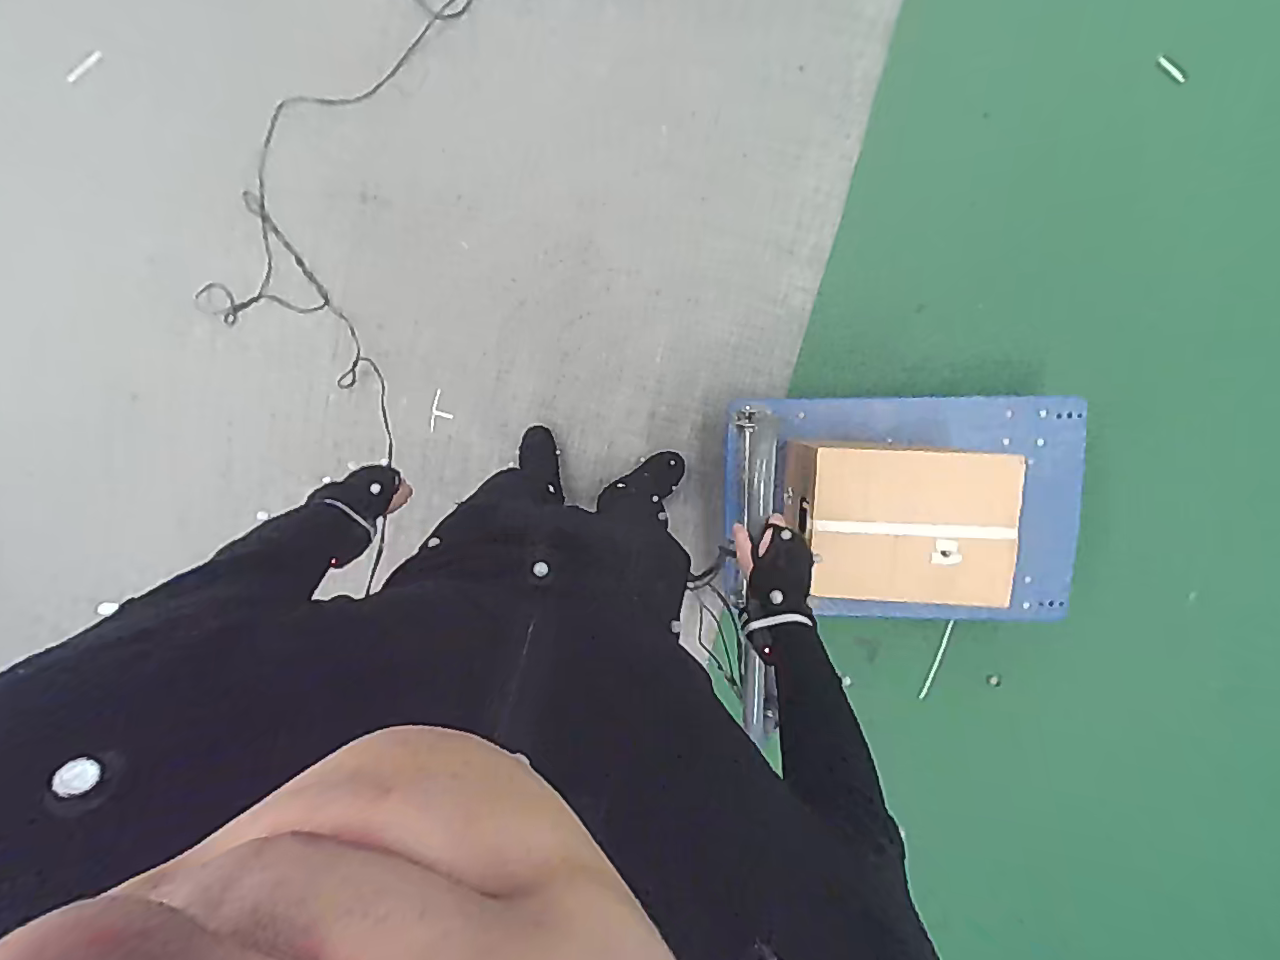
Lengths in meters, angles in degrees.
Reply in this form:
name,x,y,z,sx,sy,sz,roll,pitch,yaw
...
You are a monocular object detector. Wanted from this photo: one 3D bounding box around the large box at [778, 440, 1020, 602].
name,x,y,z,sx,sy,sz,roll,pitch,yaw
large box,0.551,0.072,1.236,0.408,0.320,0.320,3,99,3
